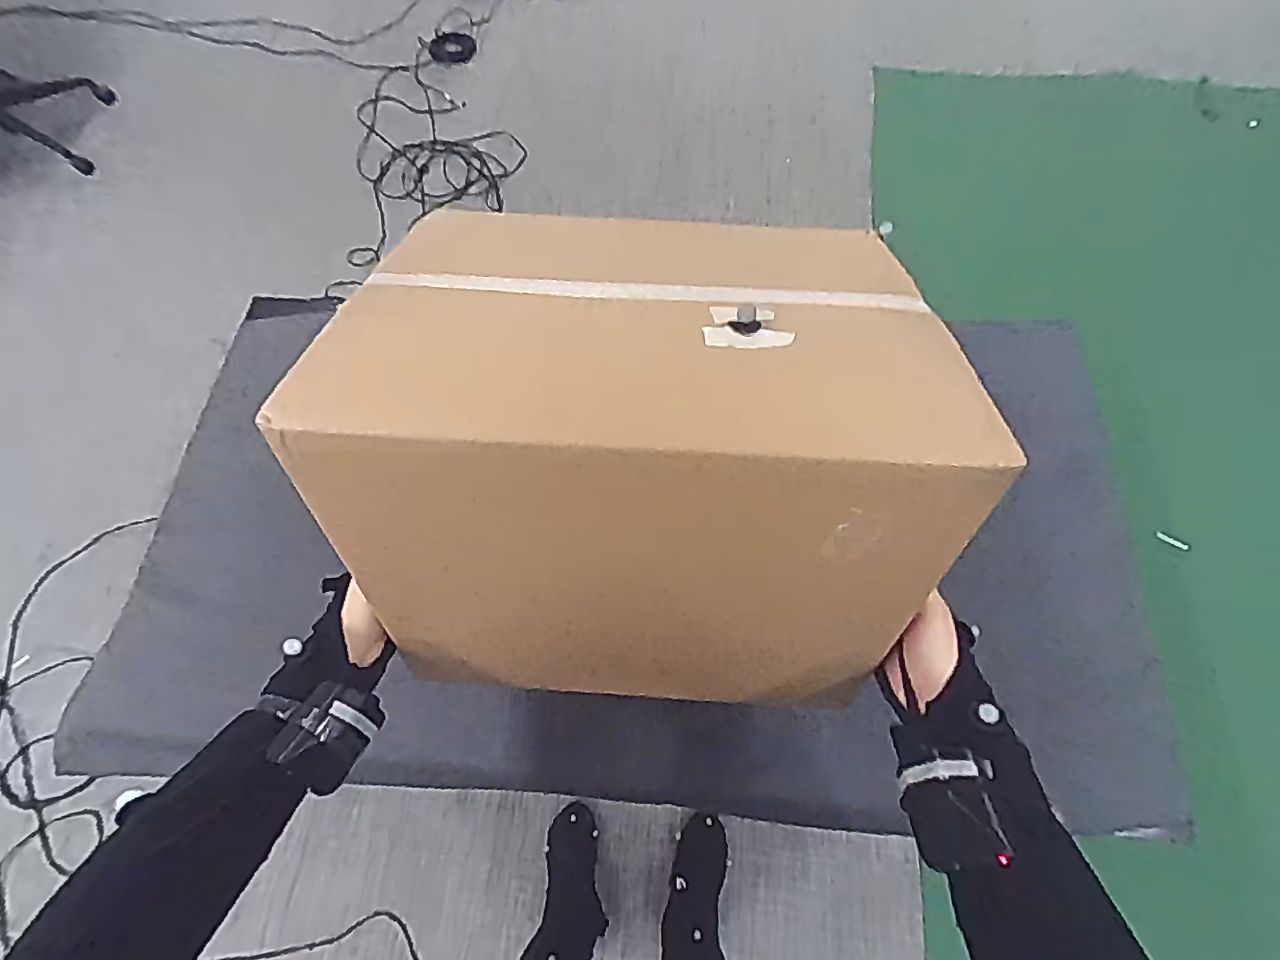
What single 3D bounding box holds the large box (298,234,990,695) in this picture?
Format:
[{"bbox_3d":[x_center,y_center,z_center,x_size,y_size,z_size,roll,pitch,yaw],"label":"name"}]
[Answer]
[{"bbox_3d":[0.002,-0.013,0.513,0.408,0.320,0.320,3,46,1],"label":"large box"}]
